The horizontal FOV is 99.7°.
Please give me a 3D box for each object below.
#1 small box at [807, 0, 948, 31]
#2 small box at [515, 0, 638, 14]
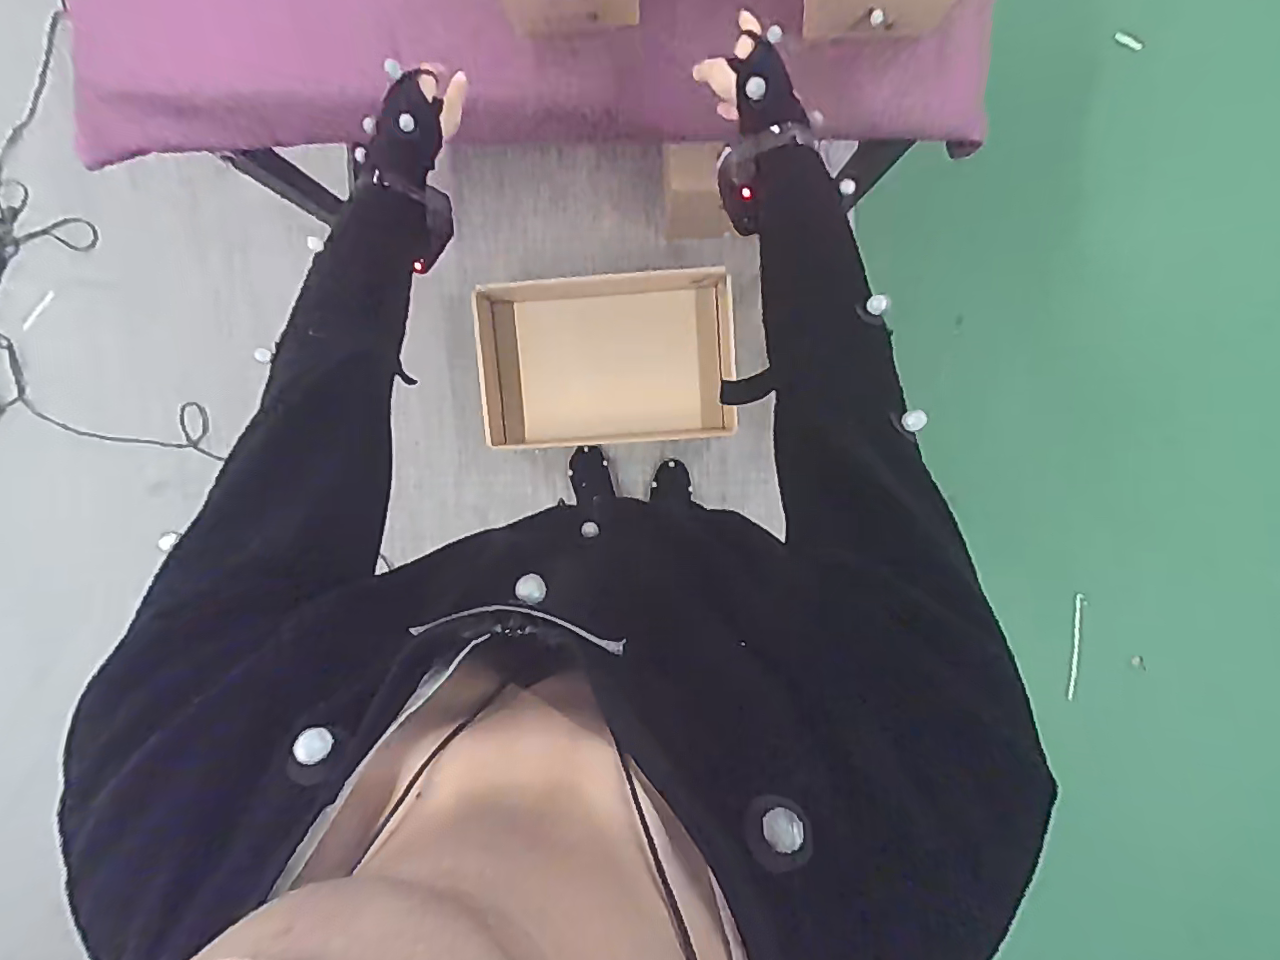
[{"bbox_3d":[0.295,-0.663,0.613,0.168,0.176,0.179,0,96,1],"label":"small box"},{"bbox_3d":[-0.087,-0.676,0.614,0.168,0.176,0.179,-4,96,0],"label":"small box"}]
